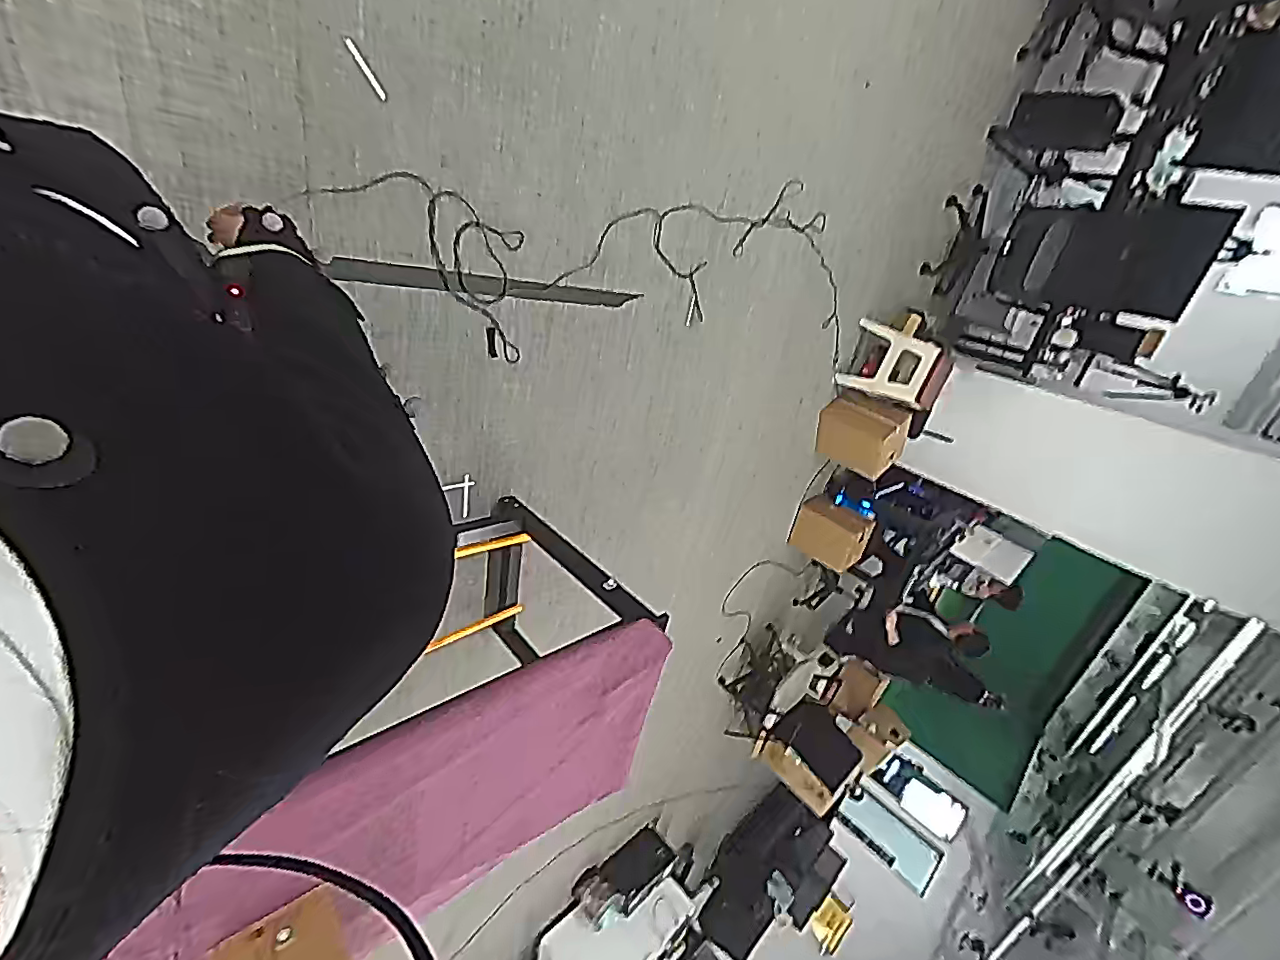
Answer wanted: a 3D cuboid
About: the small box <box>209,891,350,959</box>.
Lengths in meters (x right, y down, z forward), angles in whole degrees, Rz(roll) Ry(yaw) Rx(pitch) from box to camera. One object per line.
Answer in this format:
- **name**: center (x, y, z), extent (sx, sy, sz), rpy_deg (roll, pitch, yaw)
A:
- **small box**: center (-0.578, 0.831, 0.877), extent (0.168, 0.176, 0.179), rpy_deg (-9, 121, -46)
